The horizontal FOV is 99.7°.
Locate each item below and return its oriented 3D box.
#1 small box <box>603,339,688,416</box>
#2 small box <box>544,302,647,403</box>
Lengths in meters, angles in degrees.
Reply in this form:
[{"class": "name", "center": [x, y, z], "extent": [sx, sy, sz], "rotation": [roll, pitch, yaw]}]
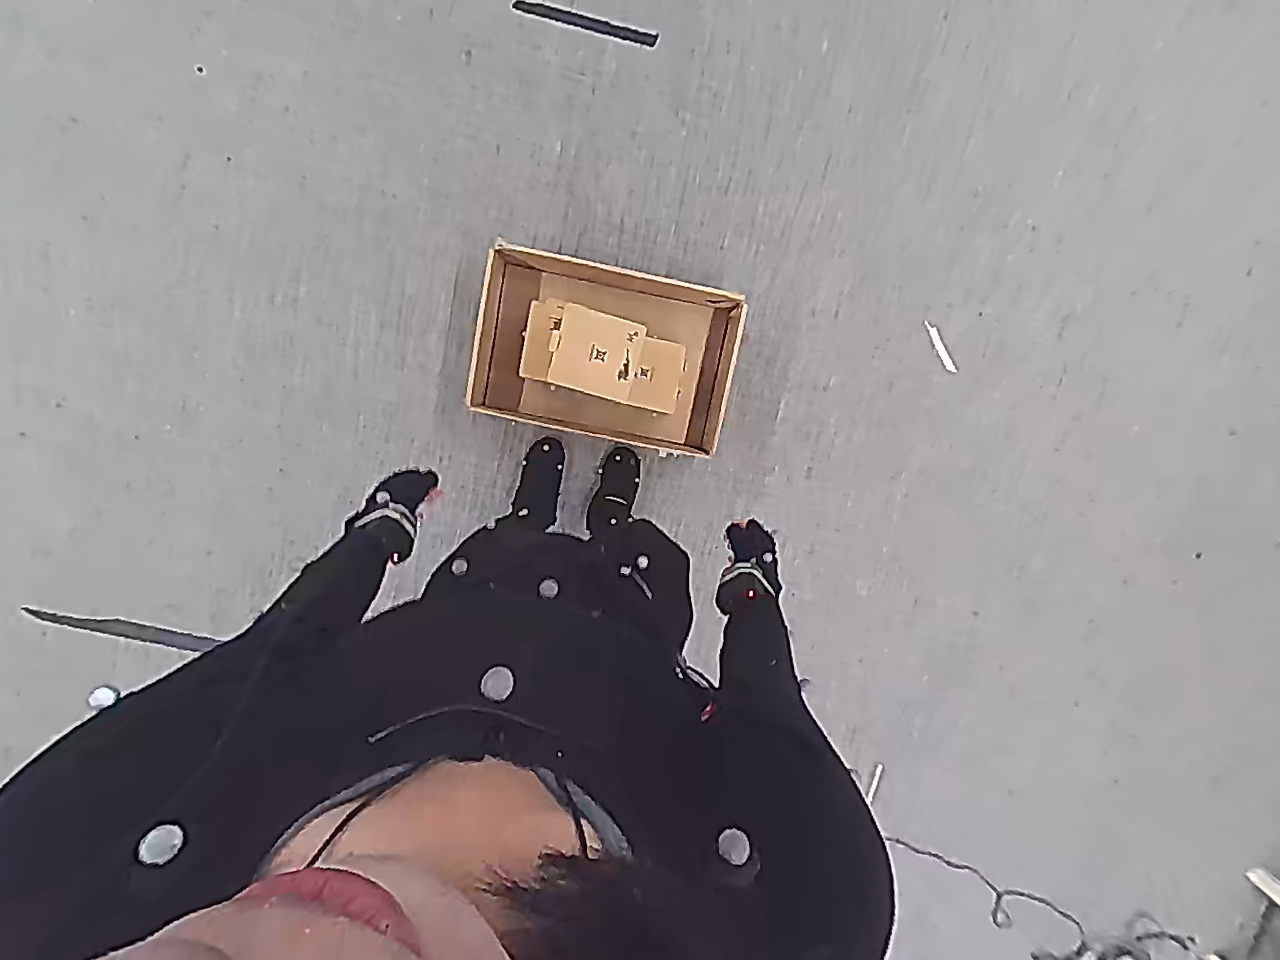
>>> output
[{"class": "small box", "center": [0.011, -0.258, 1.352], "extent": [0.179, 0.176, 0.168], "rotation": [11, 96, -2]}, {"class": "small box", "center": [-0.095, -0.267, 1.179], "extent": [0.179, 0.176, 0.168], "rotation": [16, 96, -5]}]
